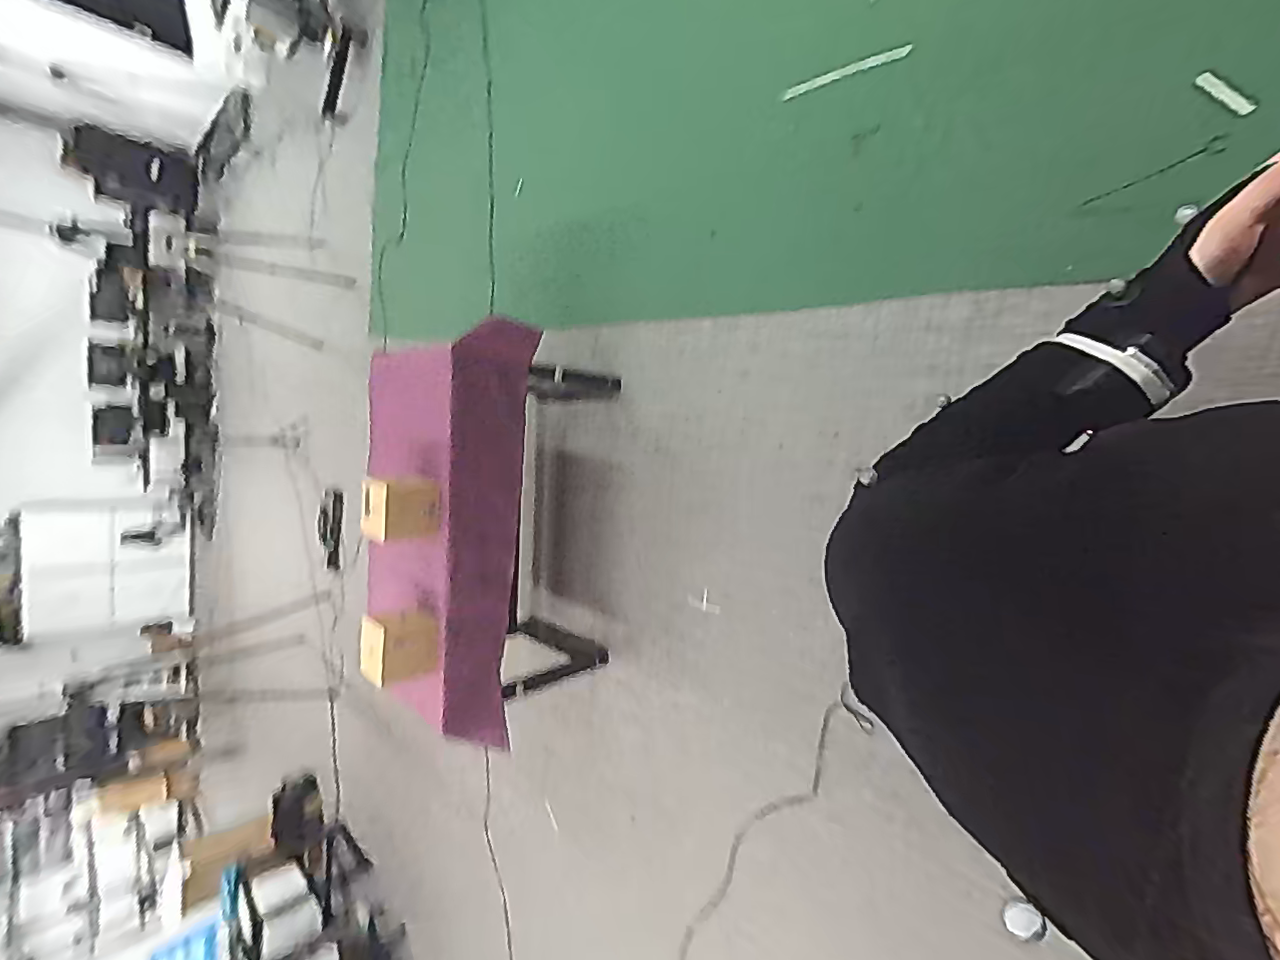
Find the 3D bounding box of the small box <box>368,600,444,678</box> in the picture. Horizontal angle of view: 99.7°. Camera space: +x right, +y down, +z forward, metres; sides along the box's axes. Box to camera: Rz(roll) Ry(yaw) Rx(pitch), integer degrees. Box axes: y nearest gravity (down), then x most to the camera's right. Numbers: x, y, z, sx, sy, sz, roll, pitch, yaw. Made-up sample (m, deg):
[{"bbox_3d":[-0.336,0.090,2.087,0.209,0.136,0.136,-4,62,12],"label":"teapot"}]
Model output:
[{"bbox_3d":[-0.734,0.489,1.699,0.168,0.176,0.179,10,97,44],"label":"small box"}]
